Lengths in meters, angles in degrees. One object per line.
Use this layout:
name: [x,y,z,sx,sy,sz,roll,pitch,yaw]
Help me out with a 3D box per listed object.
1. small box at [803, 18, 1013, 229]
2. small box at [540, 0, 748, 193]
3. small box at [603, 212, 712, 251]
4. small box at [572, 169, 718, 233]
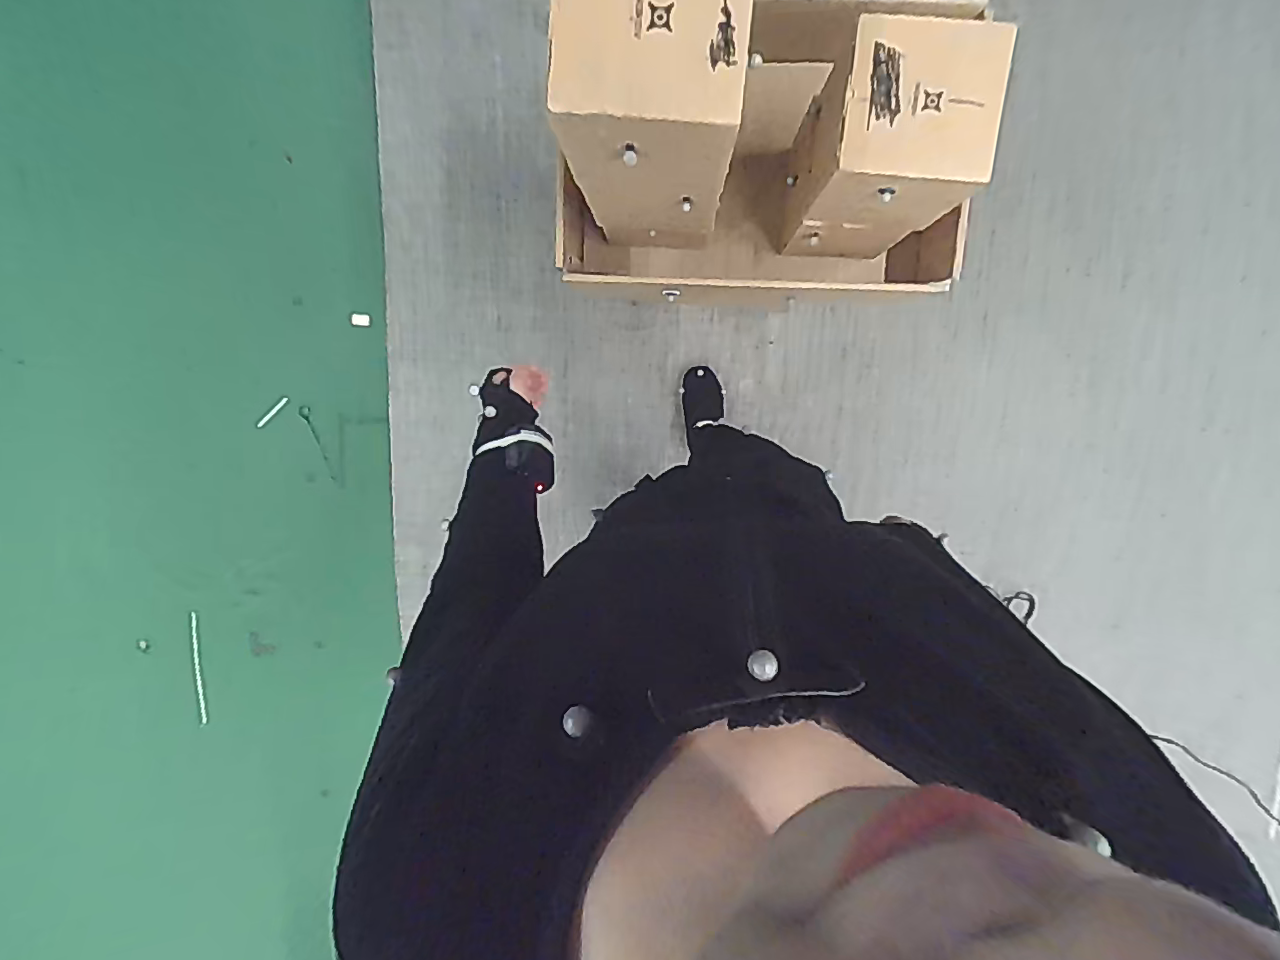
small box: [0.319,-0.432,0.684,0.179,0.176,0.168,6,98,2]
small box: [0.010,-0.409,0.545,0.179,0.176,0.168,6,99,3]
small box: [0.030,-0.476,0.865,0.179,0.176,0.168,4,99,2]
small box: [0.017,-0.437,0.707,0.179,0.176,0.168,5,99,2]
